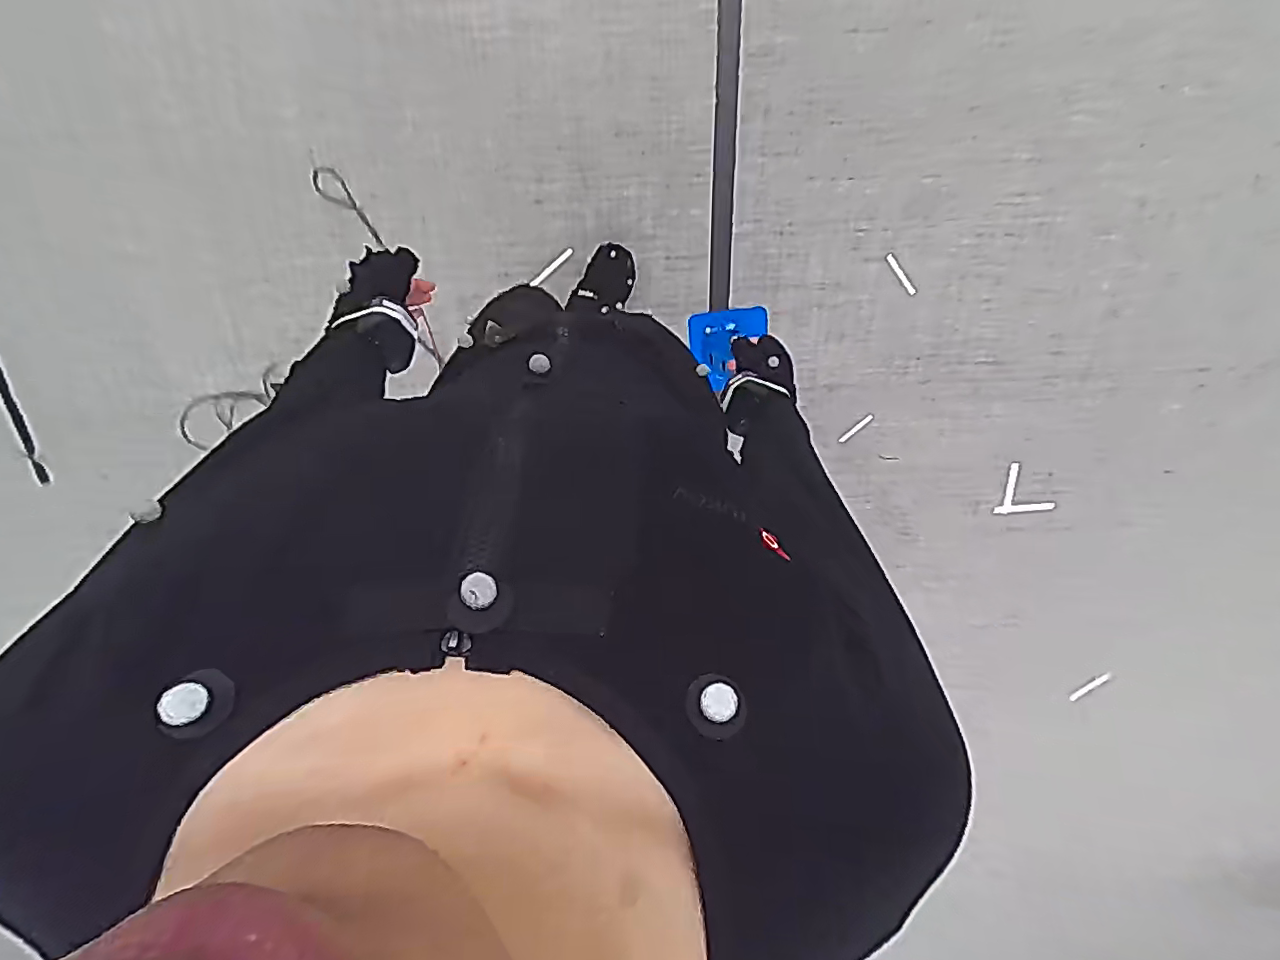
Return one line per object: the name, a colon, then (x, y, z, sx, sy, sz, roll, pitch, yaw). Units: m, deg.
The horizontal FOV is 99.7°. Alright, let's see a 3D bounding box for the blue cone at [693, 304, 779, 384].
blue cone: (0.238, -0.279, 1.231, 0.192, 0.380, 0.193, -6, 113, 0)
